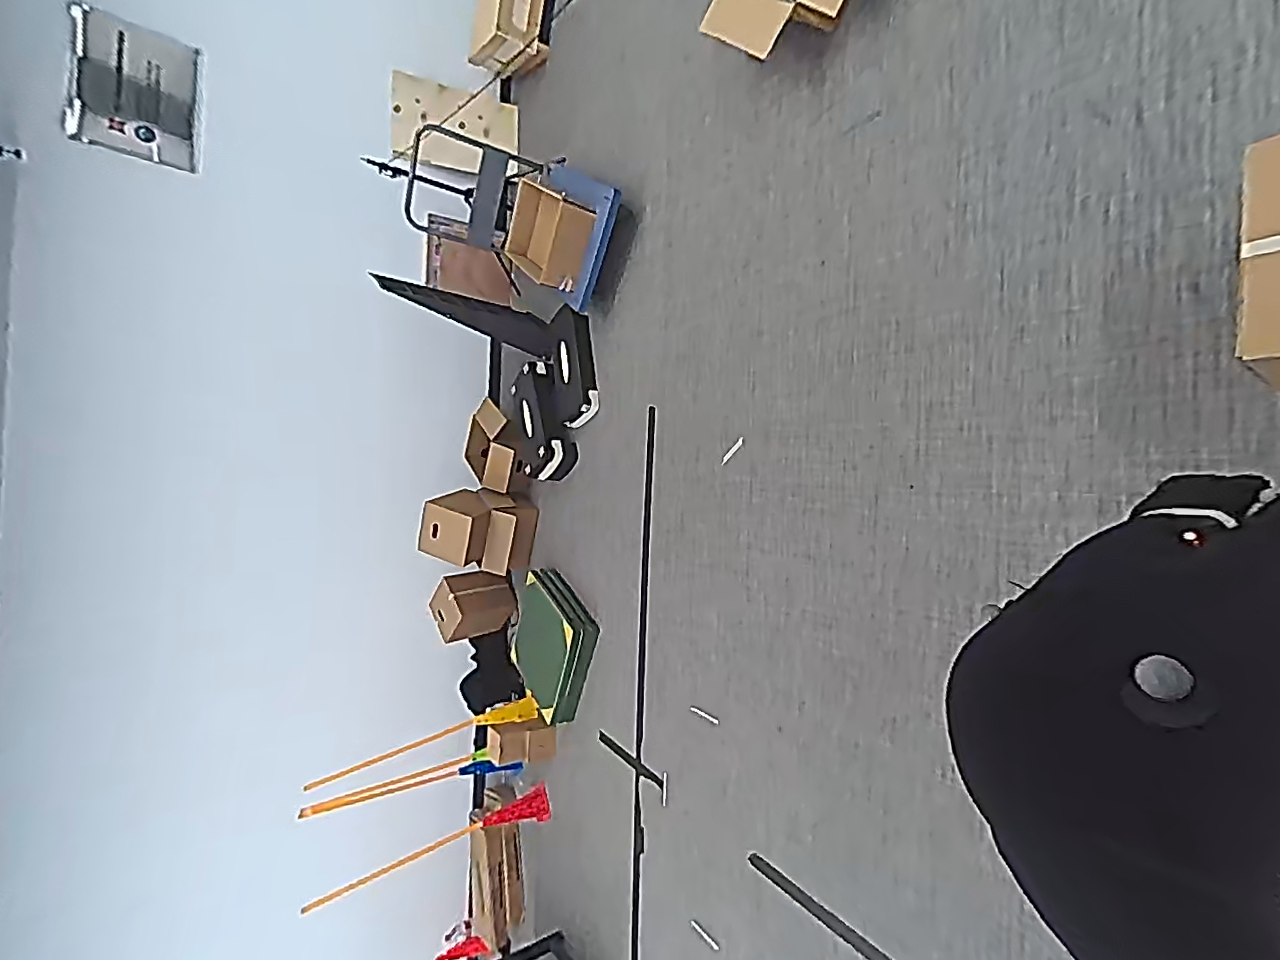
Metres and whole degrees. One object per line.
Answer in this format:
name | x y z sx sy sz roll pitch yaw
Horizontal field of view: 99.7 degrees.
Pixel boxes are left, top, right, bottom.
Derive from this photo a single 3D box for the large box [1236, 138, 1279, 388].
large box | 1.096 -0.317 0.704 0.408 0.320 0.320 1 90 55
